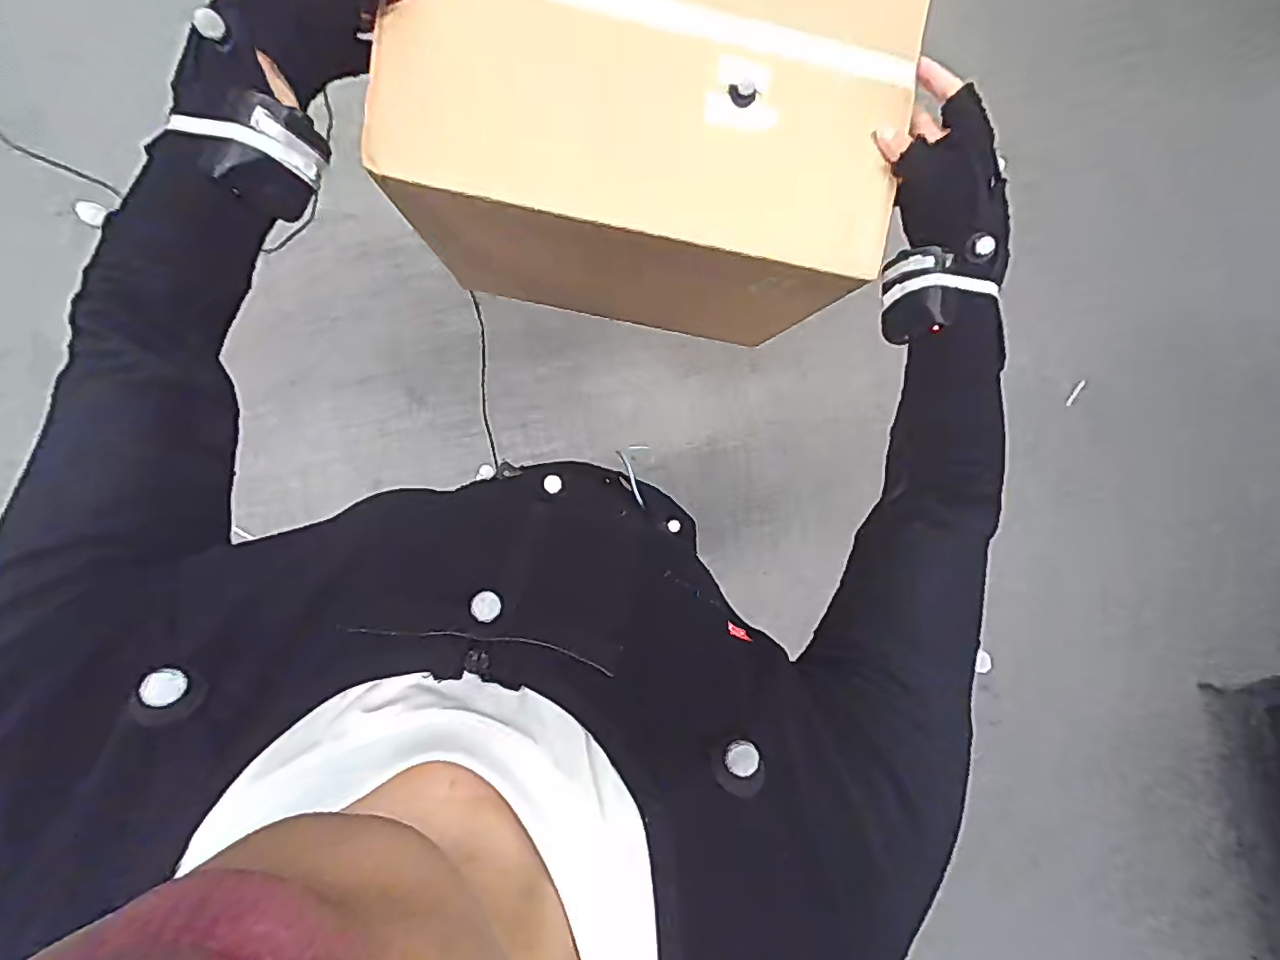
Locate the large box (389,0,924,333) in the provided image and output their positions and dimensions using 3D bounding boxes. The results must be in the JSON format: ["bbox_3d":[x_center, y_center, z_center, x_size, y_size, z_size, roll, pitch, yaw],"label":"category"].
[{"bbox_3d":[0.007,-0.366,0.567,0.408,0.320,0.320,8,94,-7],"label":"large box"}]
